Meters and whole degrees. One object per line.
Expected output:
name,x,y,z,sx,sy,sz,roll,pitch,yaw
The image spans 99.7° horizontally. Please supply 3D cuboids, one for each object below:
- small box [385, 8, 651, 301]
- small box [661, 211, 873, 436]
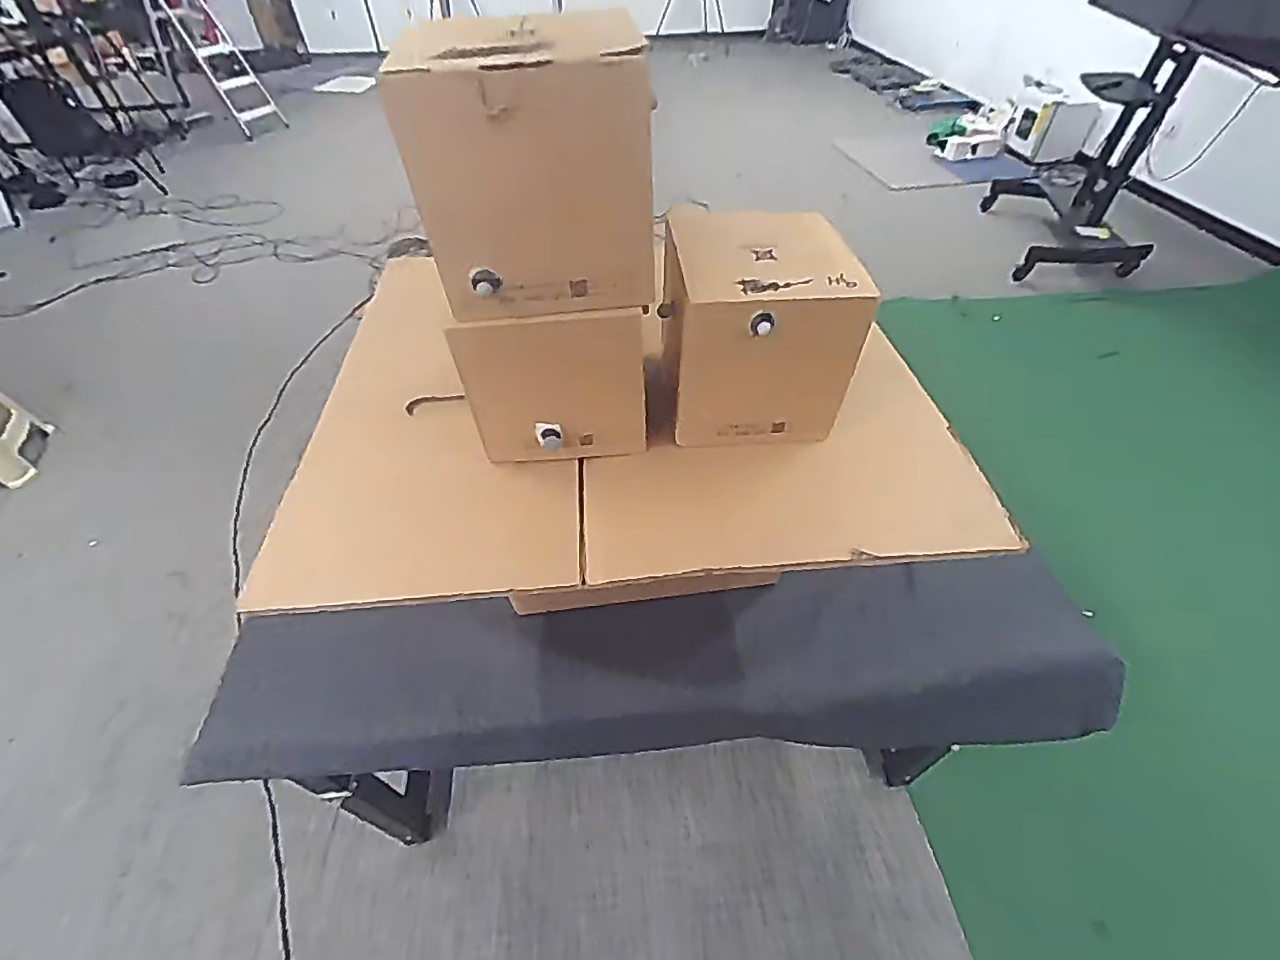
small box,-0.081,-0.263,0.448,0.168,0.176,0.179,-5,48,-2
small box,0.113,-0.166,0.574,0.168,0.176,0.179,-3,48,-3
